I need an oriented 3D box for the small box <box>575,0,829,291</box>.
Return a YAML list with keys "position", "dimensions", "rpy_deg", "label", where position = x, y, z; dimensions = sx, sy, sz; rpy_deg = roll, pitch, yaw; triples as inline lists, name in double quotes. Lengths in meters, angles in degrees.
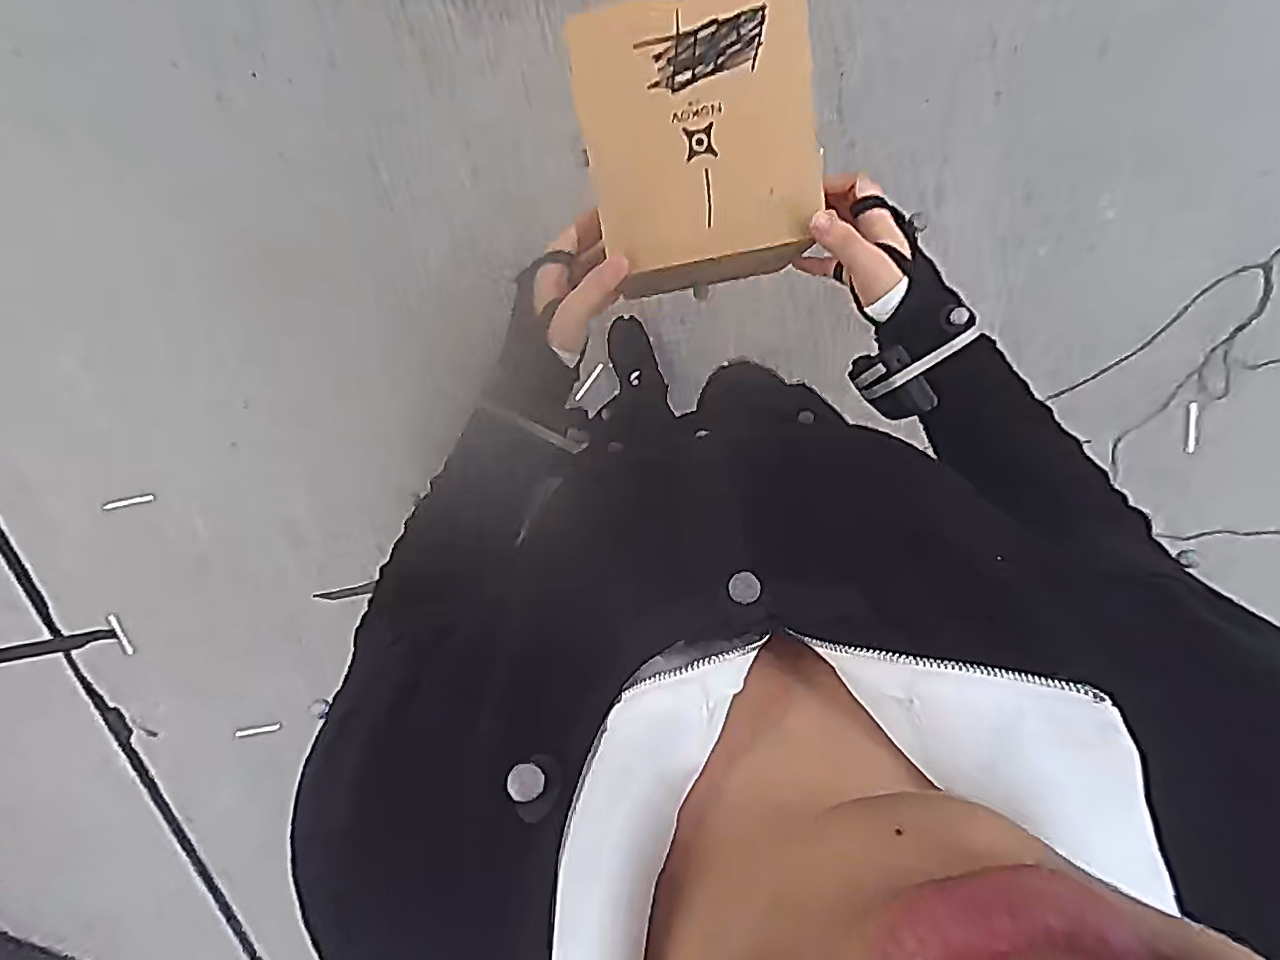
- position: [0.048, -0.274, 0.463]
  dimensions: [0.168, 0.176, 0.179]
  rpy_deg: [-9, 102, 4]
  label: "small box"
